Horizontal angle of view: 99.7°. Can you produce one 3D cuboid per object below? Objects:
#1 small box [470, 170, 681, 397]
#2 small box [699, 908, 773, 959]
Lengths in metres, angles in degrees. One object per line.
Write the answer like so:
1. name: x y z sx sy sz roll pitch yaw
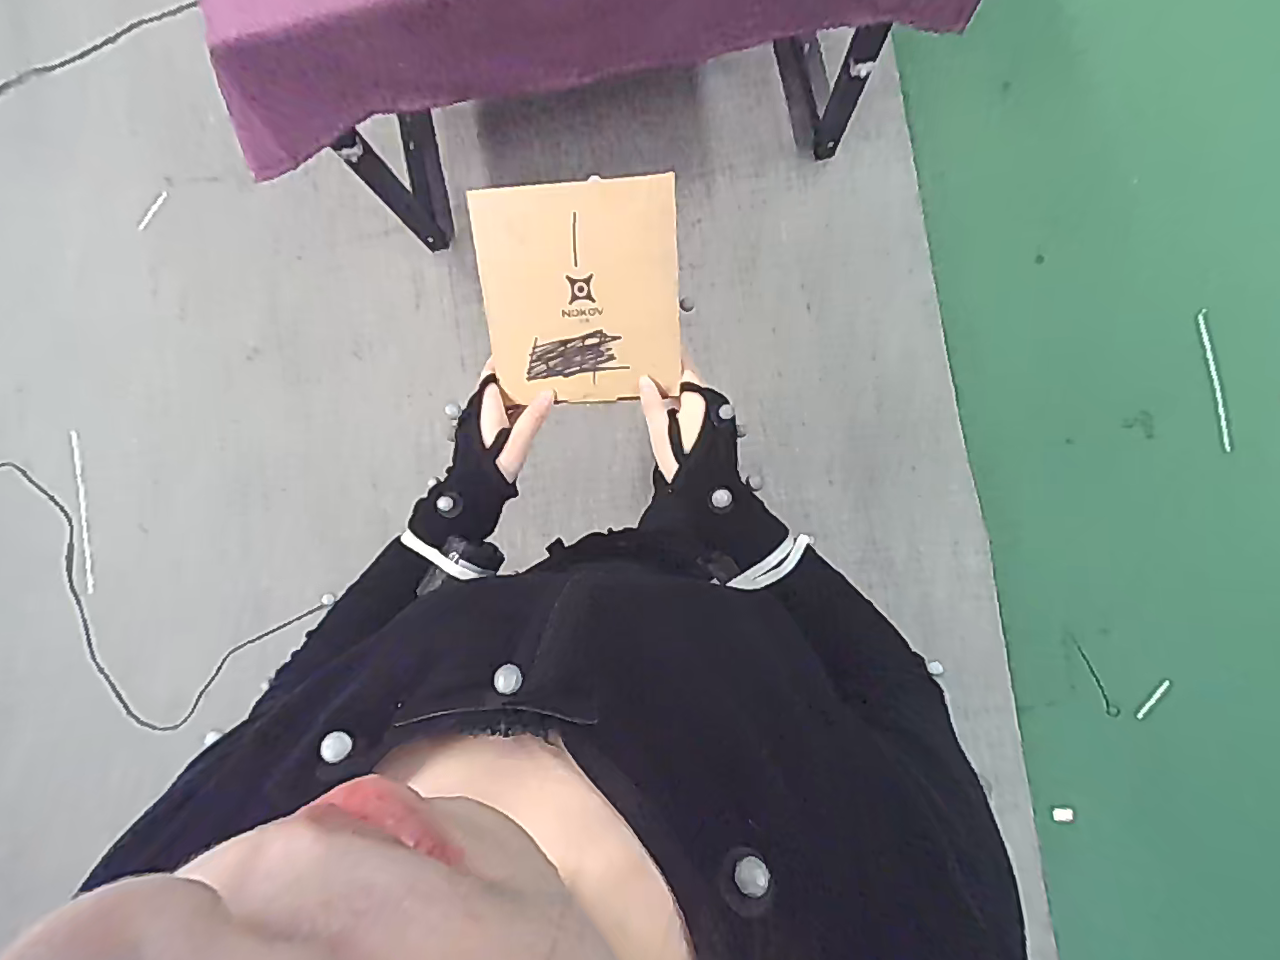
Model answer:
1. small box: -0.044 -0.188 0.527 0.168 0.176 0.179 -2 112 4
2. small box: 0.232 1.177 1.304 0.168 0.176 0.179 -5 87 4
